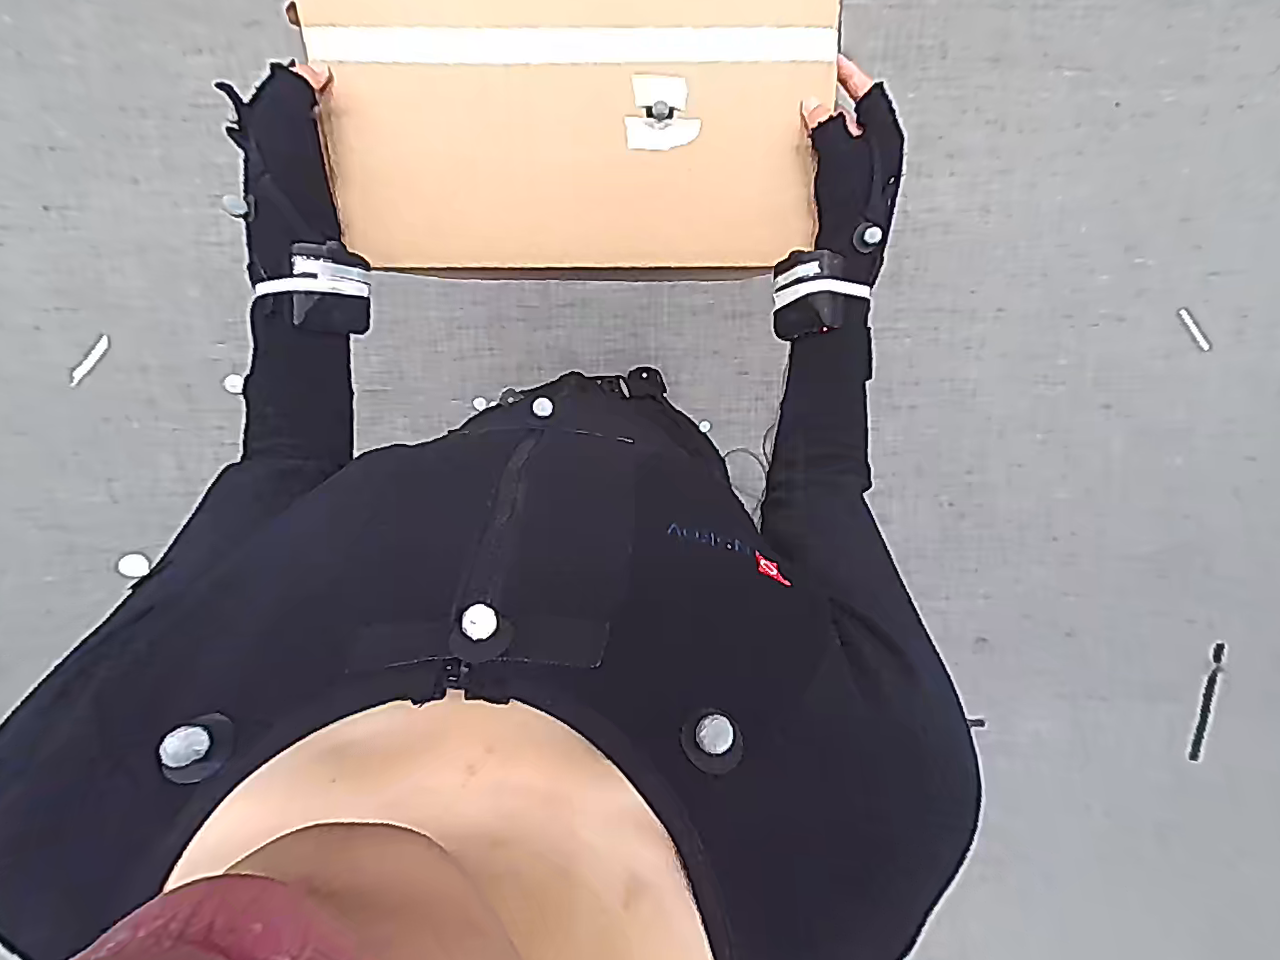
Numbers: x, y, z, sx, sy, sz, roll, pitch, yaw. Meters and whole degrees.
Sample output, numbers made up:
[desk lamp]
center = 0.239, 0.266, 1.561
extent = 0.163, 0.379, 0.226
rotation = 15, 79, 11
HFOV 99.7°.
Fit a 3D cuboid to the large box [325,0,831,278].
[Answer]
[large box]
center = -0.053, -0.391, 0.575
extent = 0.408, 0.320, 0.320
rotation = -1, 109, -2
